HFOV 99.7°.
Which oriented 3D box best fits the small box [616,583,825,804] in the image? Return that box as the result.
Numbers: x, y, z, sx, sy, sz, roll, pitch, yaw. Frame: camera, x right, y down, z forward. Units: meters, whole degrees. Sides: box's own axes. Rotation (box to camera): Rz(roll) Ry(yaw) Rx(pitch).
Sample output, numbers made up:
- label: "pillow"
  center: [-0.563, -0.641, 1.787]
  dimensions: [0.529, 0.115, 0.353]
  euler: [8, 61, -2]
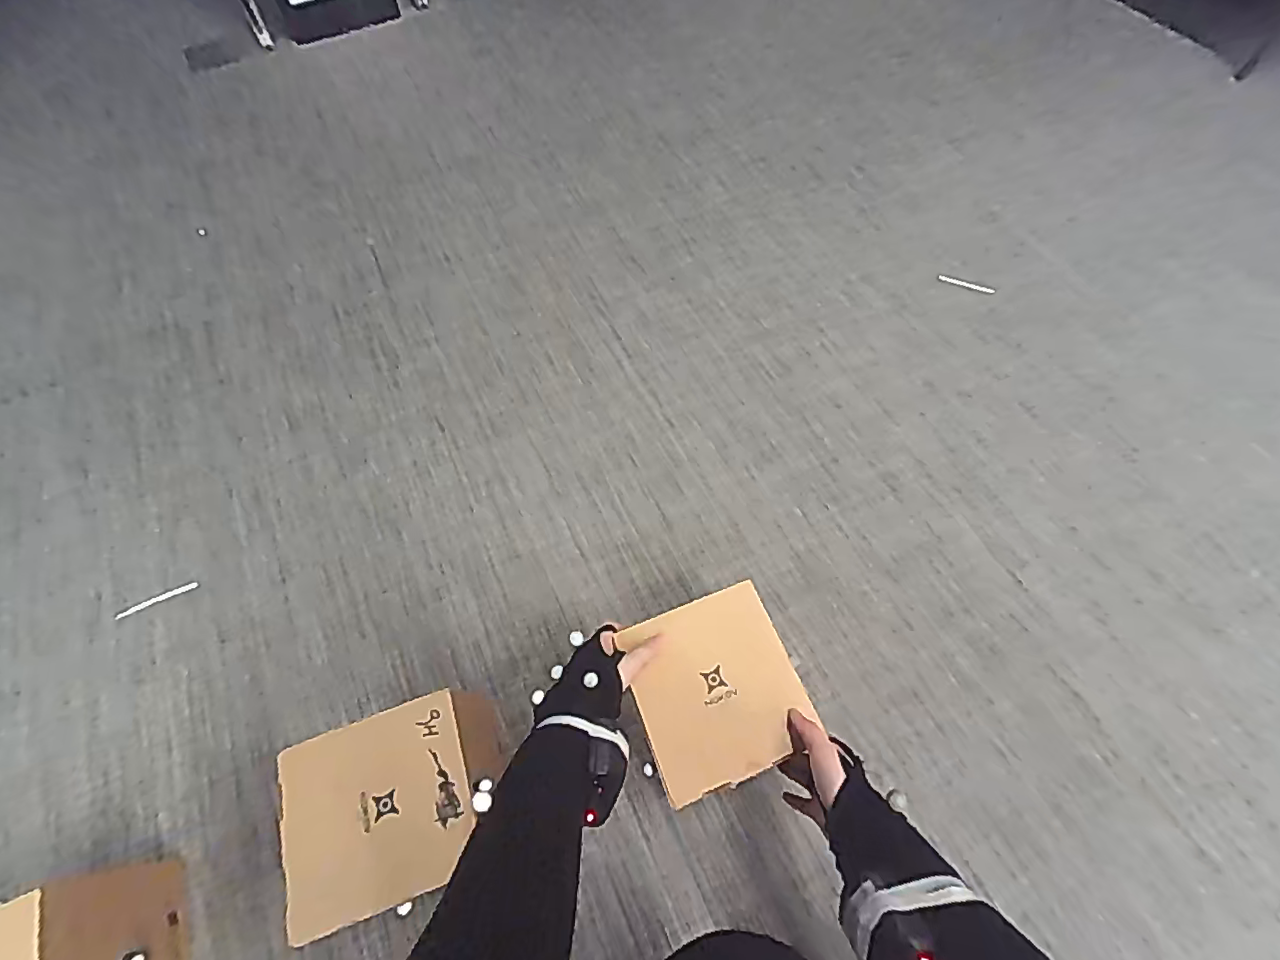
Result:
- label: "small box"
  center: [0.079, 0.248, 0.626]
  dimensions: [0.168, 0.176, 0.179]
  euler: [-20, 64, -8]

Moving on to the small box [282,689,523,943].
- label: "small box"
  center: [-0.245, 0.346, 0.584]
  dimensions: [0.179, 0.176, 0.168]
  euler: [-19, 64, -7]

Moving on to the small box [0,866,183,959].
- label: "small box"
  center: [-0.578, 0.504, 0.512]
  dimensions: [0.179, 0.176, 0.168]
  euler: [-23, 63, -10]
